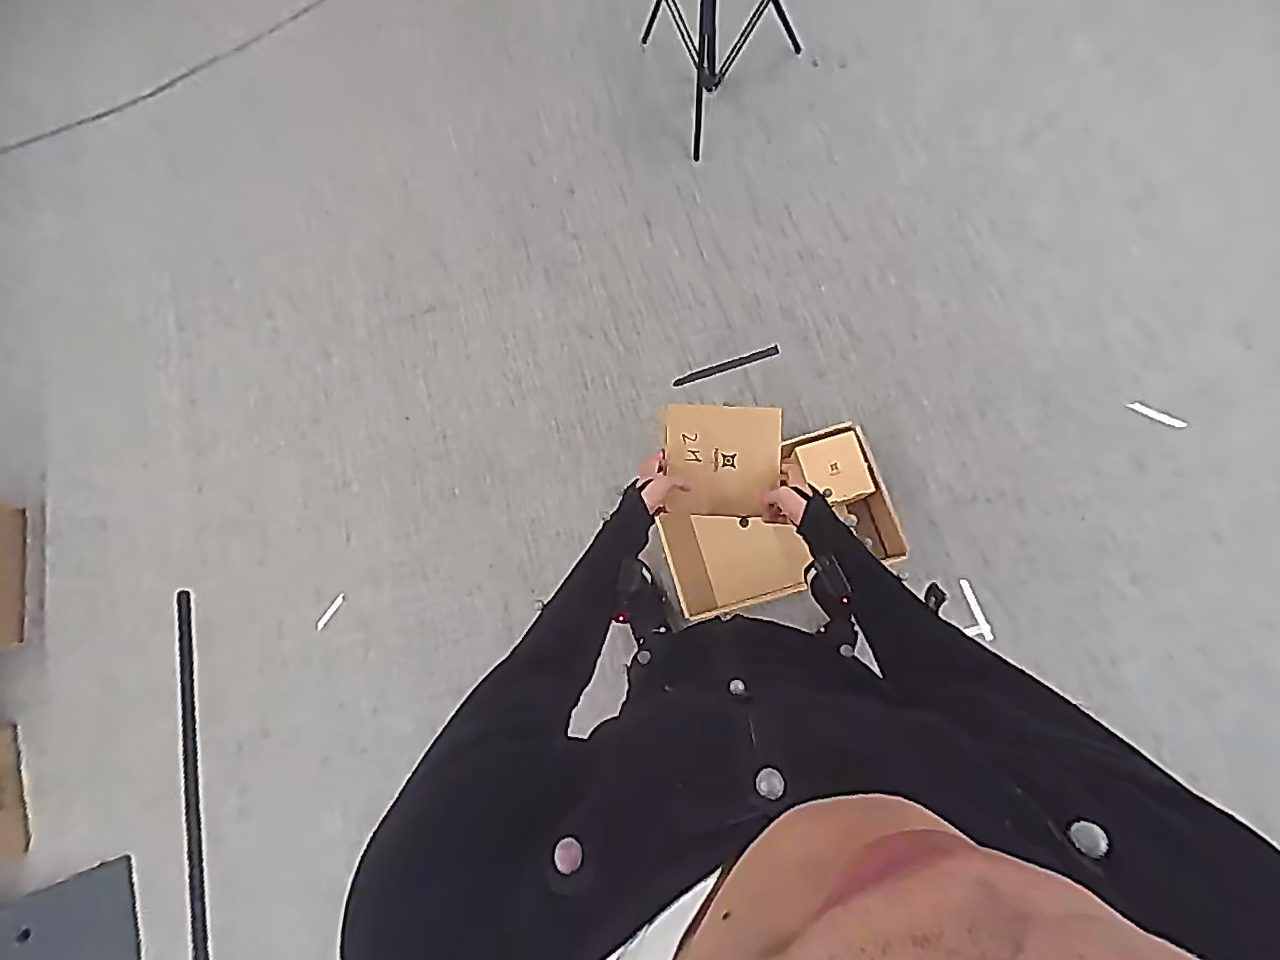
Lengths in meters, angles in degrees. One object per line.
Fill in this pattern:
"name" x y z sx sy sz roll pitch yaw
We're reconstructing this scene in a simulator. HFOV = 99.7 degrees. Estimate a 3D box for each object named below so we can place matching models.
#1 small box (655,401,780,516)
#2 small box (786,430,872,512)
"small box" 0.119 -0.028 0.886 0.179 0.176 0.168 3 86 0
"small box" 0.527 -0.020 1.535 0.168 0.176 0.179 -17 78 4
